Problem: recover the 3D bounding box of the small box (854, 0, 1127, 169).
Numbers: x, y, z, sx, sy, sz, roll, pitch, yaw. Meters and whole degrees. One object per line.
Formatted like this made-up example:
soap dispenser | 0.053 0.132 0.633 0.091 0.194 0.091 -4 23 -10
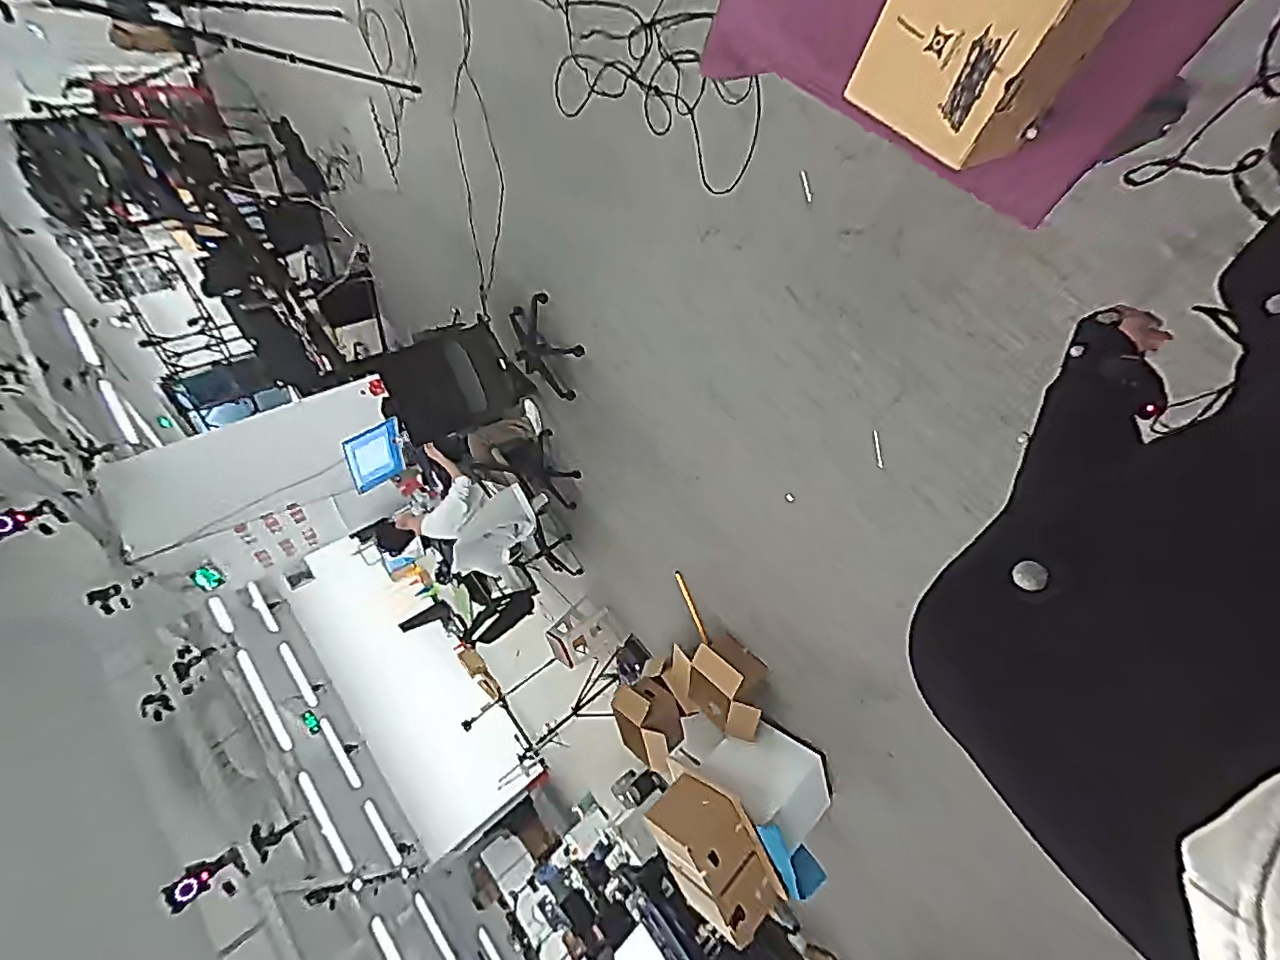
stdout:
small box | 0.400 -0.500 0.629 0.179 0.176 0.168 50 149 20
